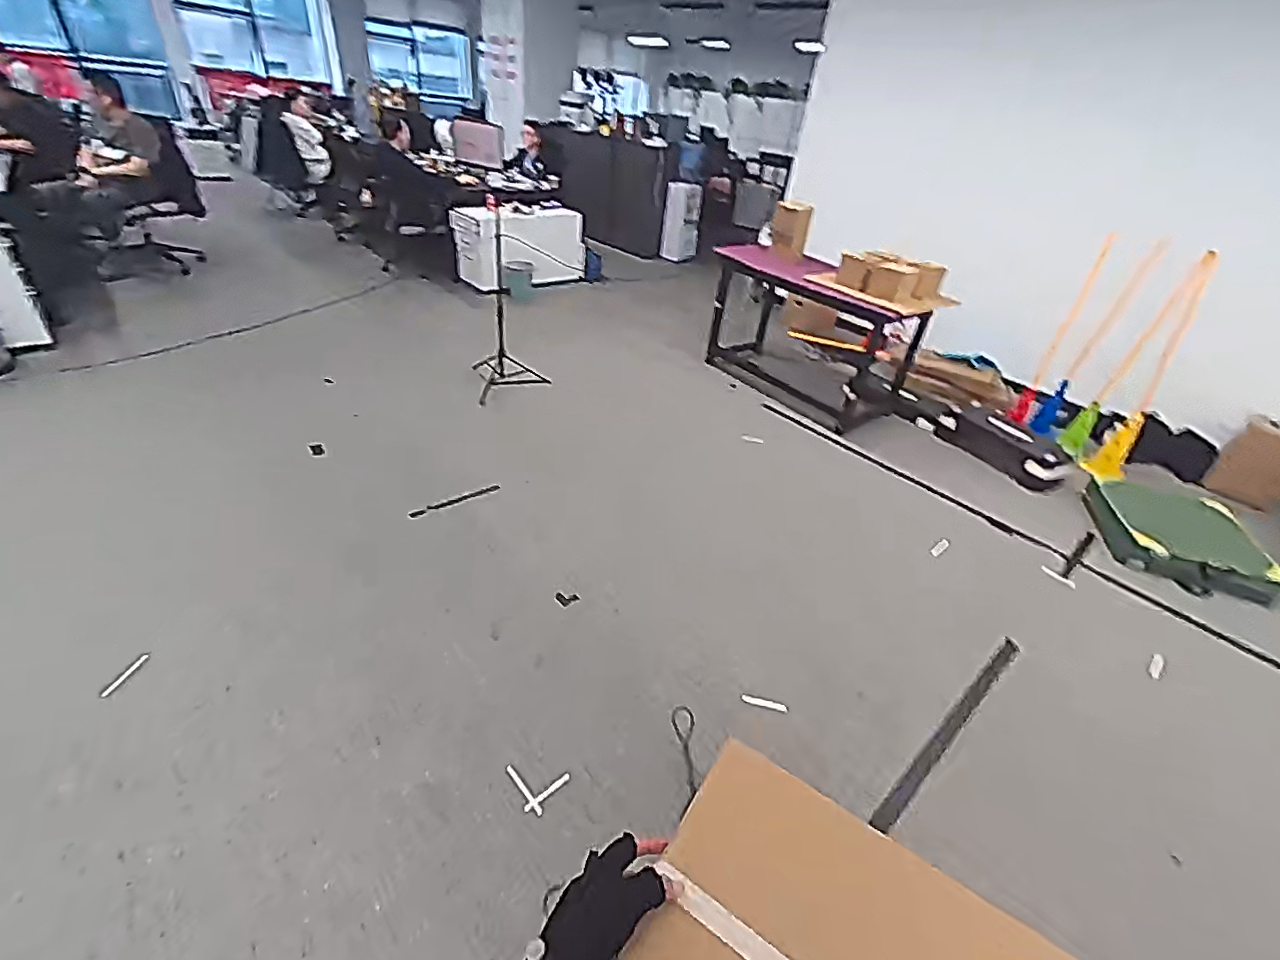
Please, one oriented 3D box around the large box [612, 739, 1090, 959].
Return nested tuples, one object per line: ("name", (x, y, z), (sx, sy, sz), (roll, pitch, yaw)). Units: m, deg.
("large box", (0.176, 0.562, 0.546), (0.408, 0.320, 0.320), (26, 45, 22))
